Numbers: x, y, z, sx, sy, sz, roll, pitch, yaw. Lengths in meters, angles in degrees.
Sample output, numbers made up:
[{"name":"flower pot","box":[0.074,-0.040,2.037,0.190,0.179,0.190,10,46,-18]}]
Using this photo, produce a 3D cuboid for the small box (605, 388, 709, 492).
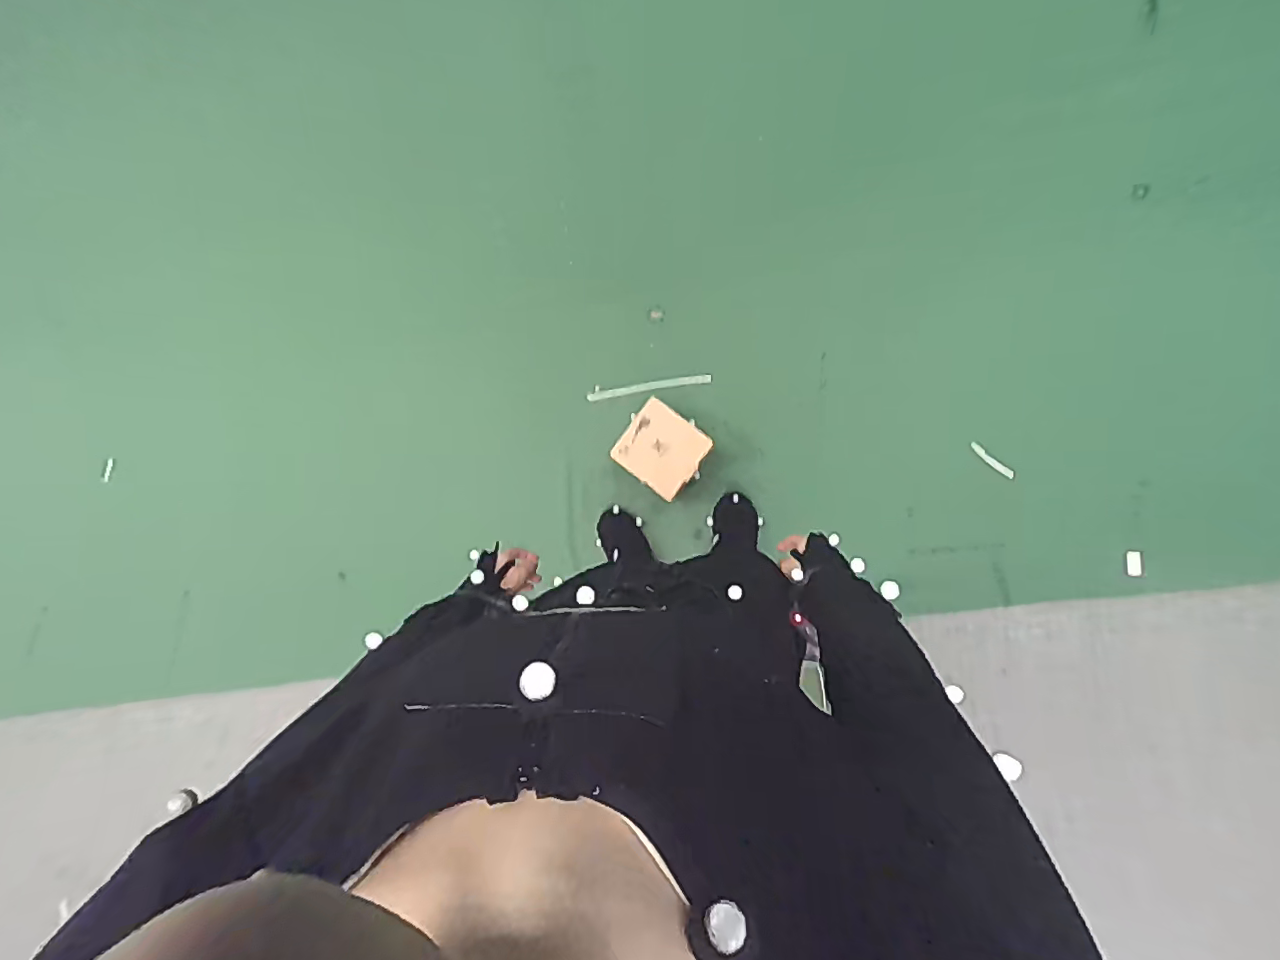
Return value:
[{"name":"small box","box":[0.047,-0.093,1.268,0.179,0.176,0.168,38,96,4]}]
